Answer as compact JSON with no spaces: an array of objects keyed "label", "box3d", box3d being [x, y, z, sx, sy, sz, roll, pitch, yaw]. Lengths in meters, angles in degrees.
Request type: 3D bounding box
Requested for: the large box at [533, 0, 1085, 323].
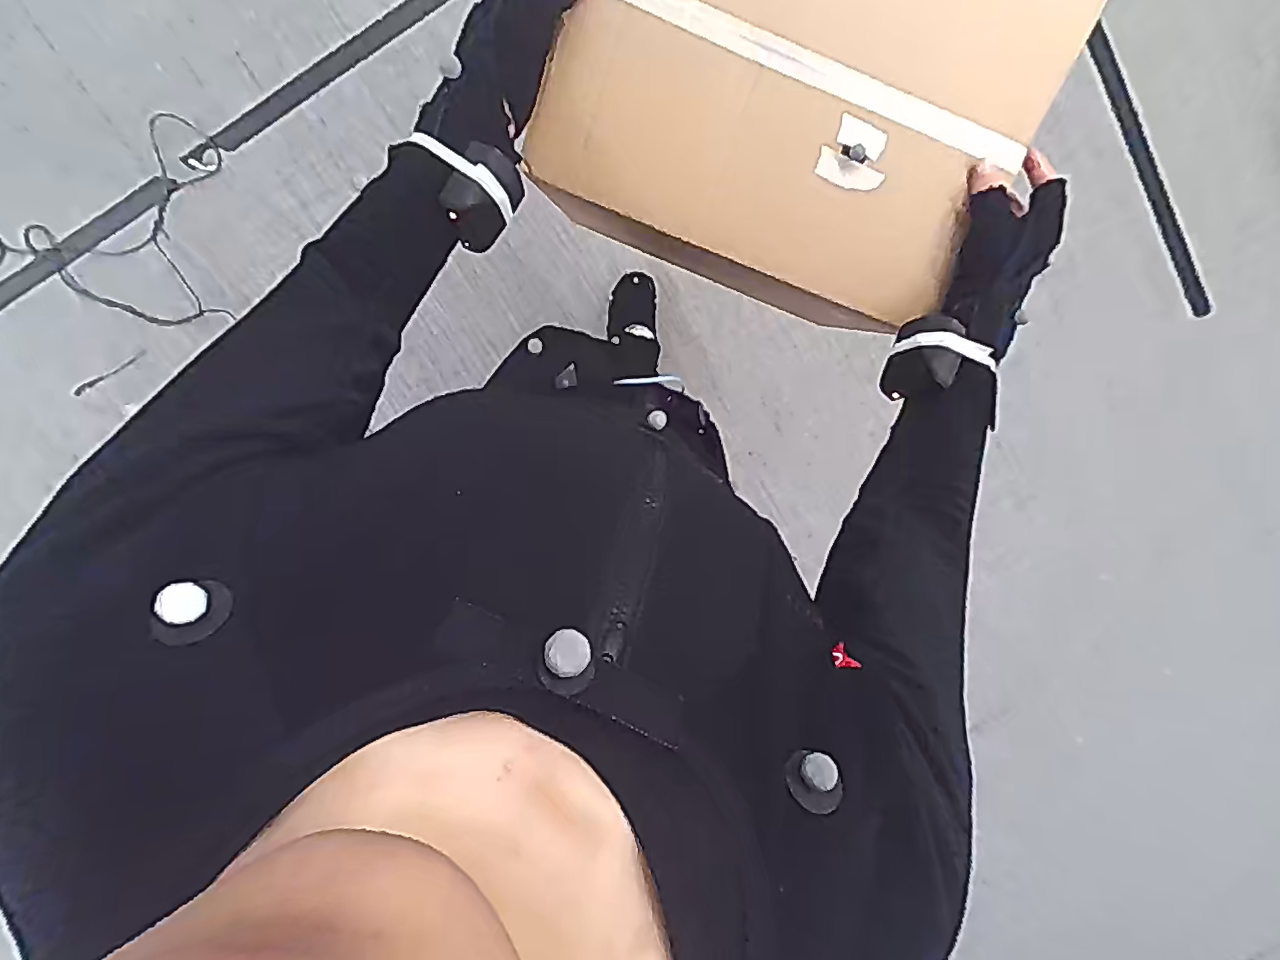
[{"label":"large box","box3d":[0.138,-0.397,0.602,0.408,0.320,0.320,20,109,-6]}]
